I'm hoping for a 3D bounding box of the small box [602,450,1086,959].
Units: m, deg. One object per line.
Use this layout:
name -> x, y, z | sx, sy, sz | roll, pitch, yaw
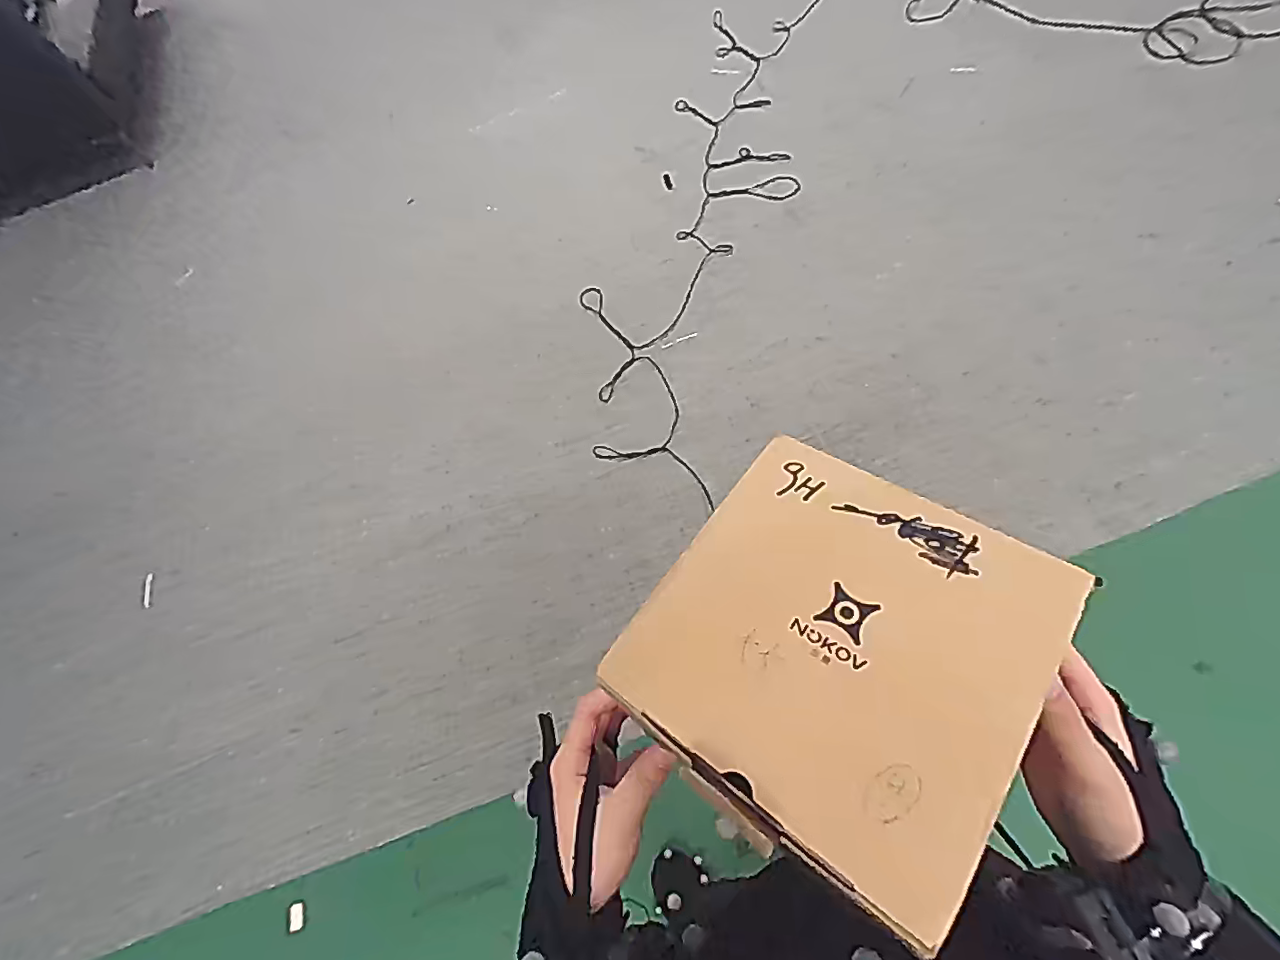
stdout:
small box -> 0.109, 0.121, 0.325 | 0.168, 0.176, 0.179 | 30, 68, 27
